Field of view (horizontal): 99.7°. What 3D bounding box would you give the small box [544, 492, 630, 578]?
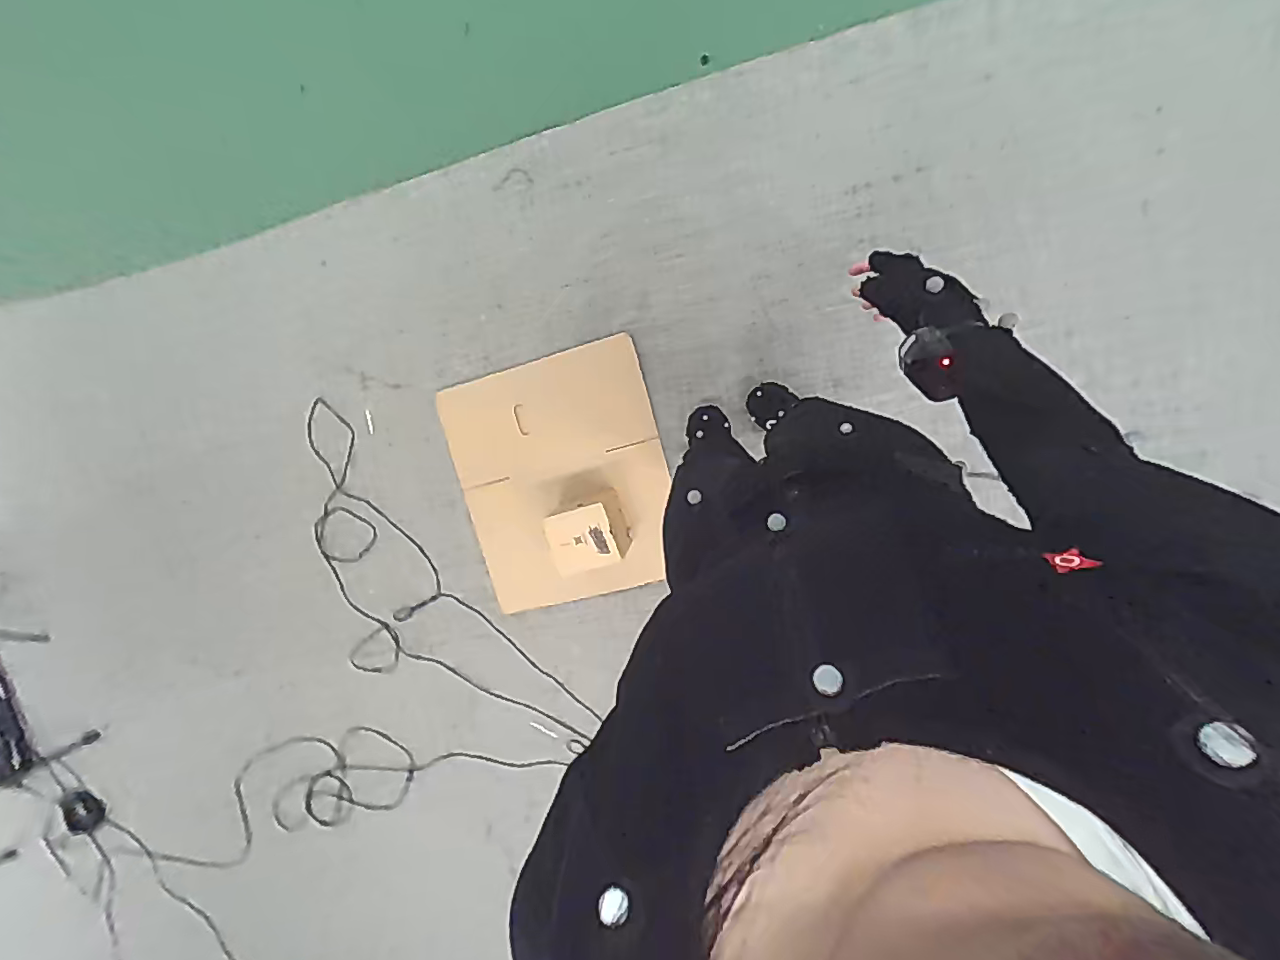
[{"bbox_3d":[-0.134,0.143,1.465,0.179,0.176,0.168,-17,97,12],"label":"small box"}]
